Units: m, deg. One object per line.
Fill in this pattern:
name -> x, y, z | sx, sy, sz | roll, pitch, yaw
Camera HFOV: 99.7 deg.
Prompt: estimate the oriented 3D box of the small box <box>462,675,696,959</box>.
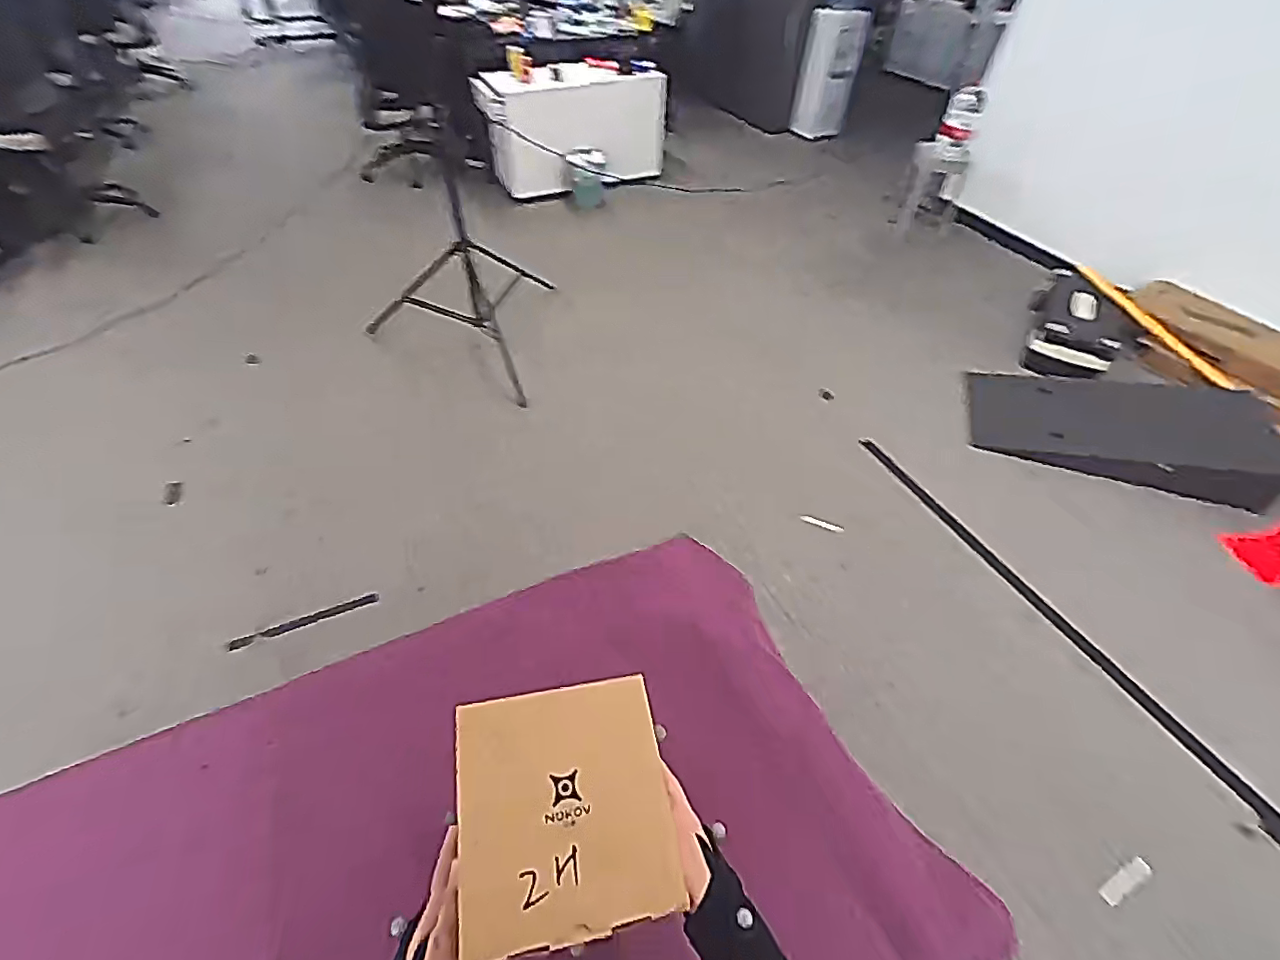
small box -> -0.064, 0.300, 0.486 | 0.168, 0.176, 0.179 | -5, 53, -12
